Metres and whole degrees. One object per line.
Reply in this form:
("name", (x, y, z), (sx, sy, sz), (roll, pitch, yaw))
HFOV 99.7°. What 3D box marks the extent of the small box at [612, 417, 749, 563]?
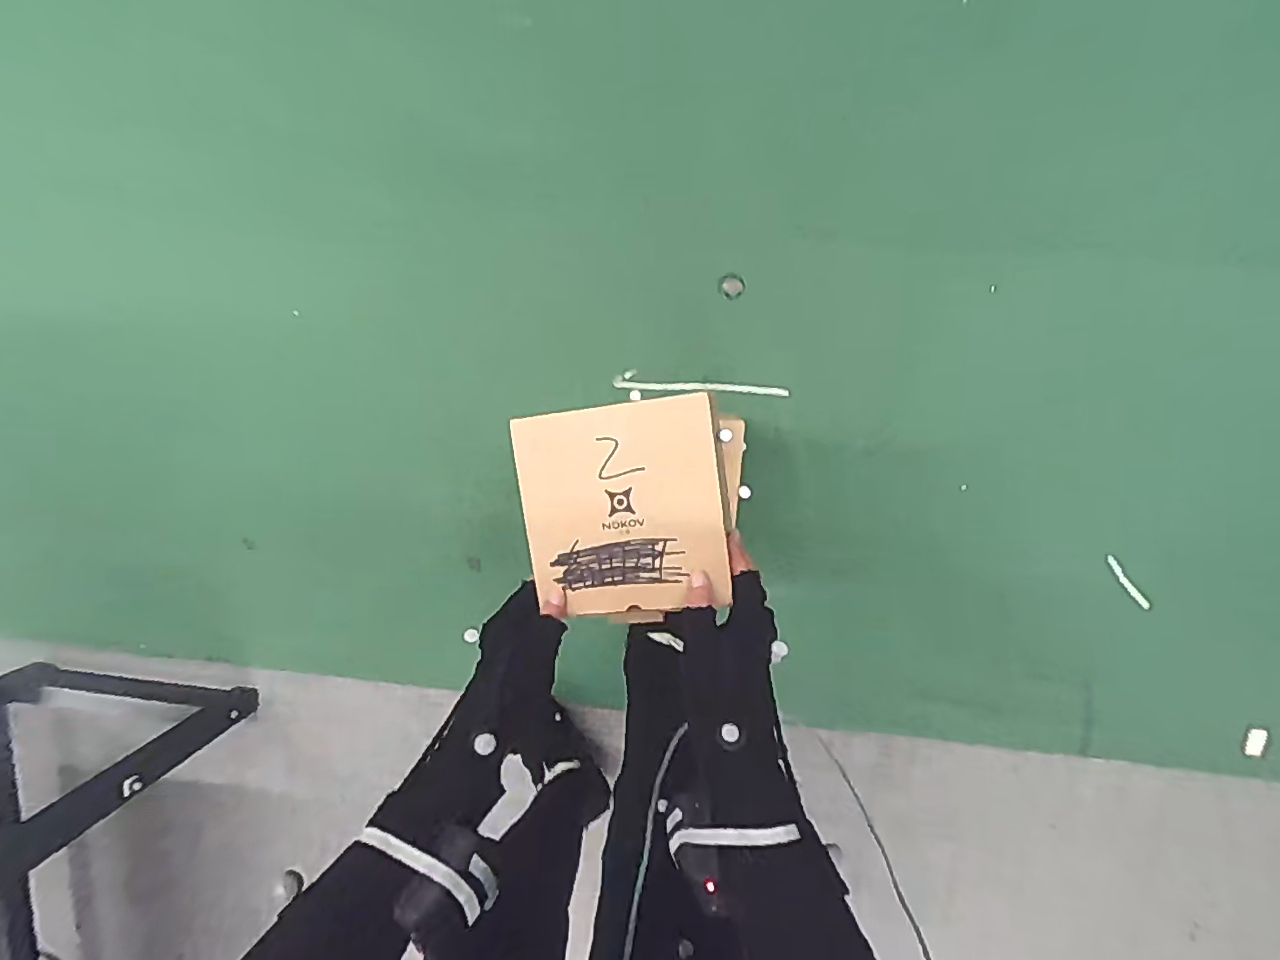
("small box", (0.057, 0.004, 0.764), (0.168, 0.176, 0.179), (4, 99, 6))
